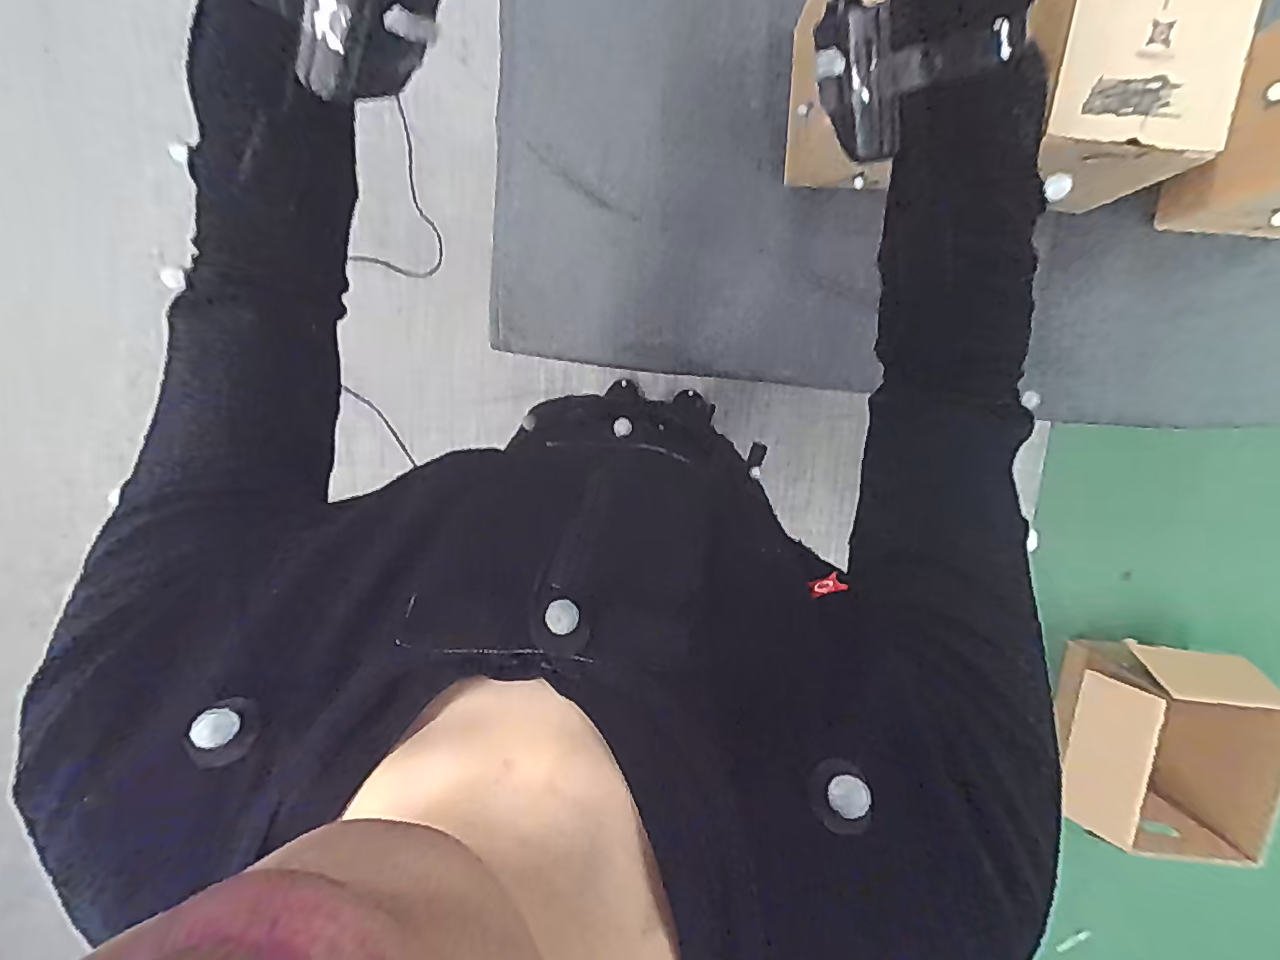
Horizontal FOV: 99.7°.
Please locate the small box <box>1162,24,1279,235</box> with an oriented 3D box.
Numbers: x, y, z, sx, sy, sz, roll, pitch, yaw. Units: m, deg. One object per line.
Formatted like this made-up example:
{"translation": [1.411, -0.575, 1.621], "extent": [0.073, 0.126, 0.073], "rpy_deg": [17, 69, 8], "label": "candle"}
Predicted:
{"translation": [0.713, -0.370, 0.565], "extent": [0.168, 0.176, 0.179], "rpy_deg": [5, 100, 1], "label": "small box"}
